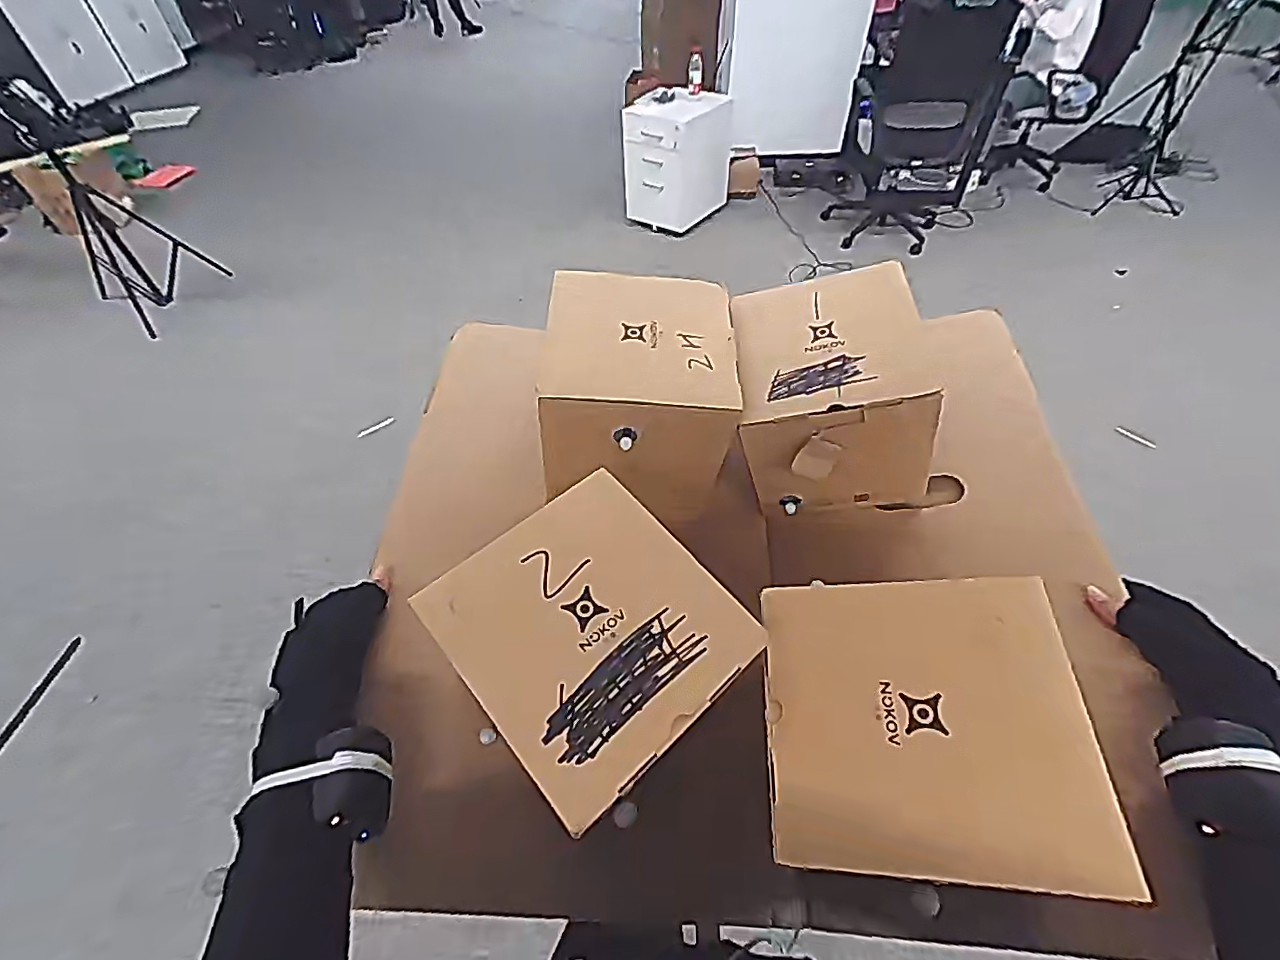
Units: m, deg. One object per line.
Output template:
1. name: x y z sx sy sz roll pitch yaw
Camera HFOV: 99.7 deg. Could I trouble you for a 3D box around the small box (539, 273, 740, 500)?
1. small box: -0.004 -0.090 0.569 0.179 0.176 0.168 4 58 -4
